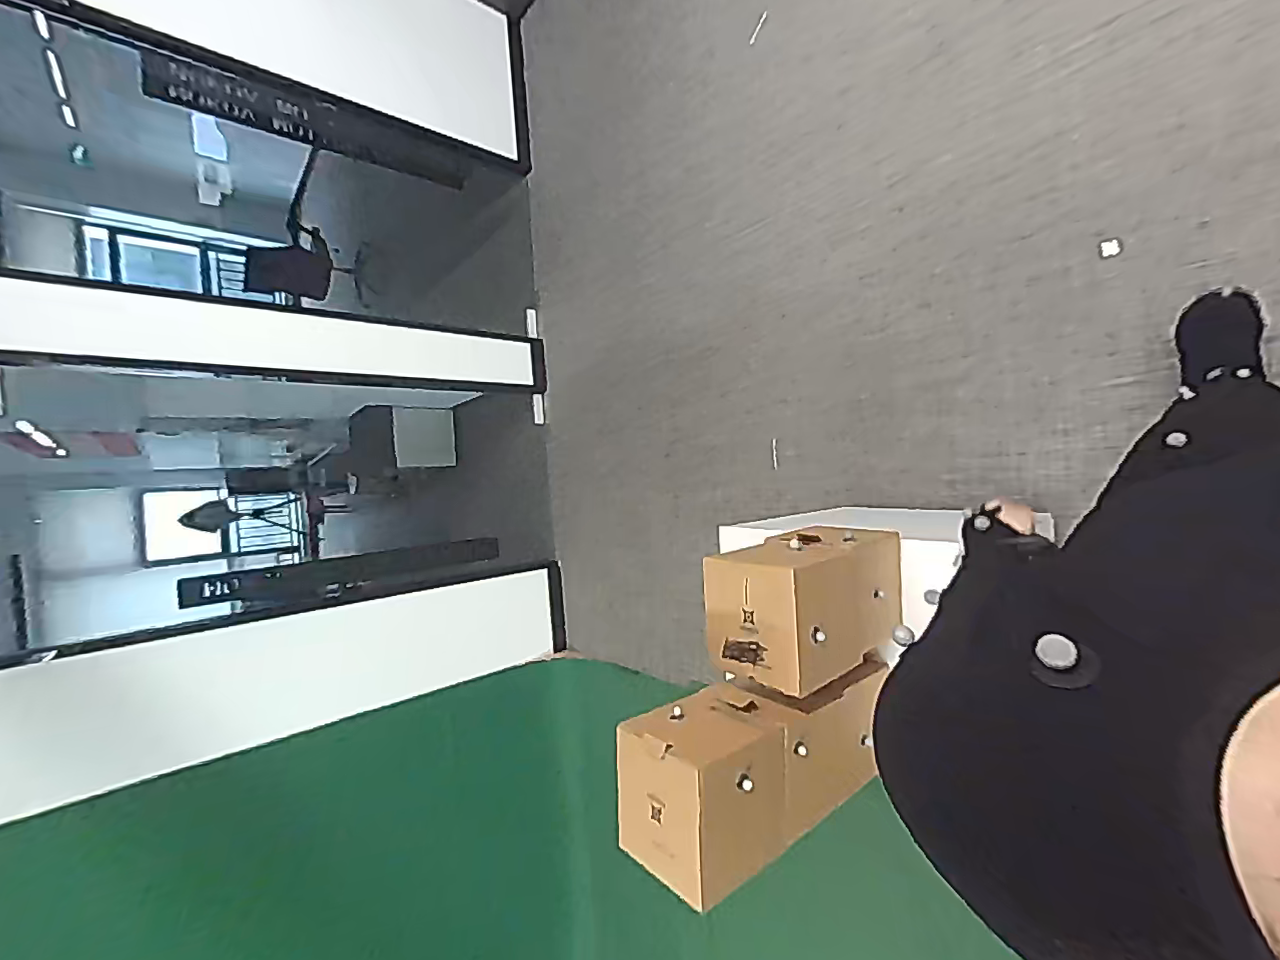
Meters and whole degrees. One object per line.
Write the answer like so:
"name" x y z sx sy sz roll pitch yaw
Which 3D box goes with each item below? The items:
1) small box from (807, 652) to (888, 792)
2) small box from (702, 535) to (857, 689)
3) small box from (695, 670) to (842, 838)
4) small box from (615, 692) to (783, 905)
"small box" 0.325 0.407 0.962 0.168 0.176 0.179 -3 89 49
"small box" 0.214 0.186 0.822 0.168 0.176 0.179 -1 93 49
"small box" 0.203 0.412 0.852 0.168 0.176 0.179 0 90 49
"small box" 0.081 0.414 0.745 0.168 0.176 0.179 -2 89 50
